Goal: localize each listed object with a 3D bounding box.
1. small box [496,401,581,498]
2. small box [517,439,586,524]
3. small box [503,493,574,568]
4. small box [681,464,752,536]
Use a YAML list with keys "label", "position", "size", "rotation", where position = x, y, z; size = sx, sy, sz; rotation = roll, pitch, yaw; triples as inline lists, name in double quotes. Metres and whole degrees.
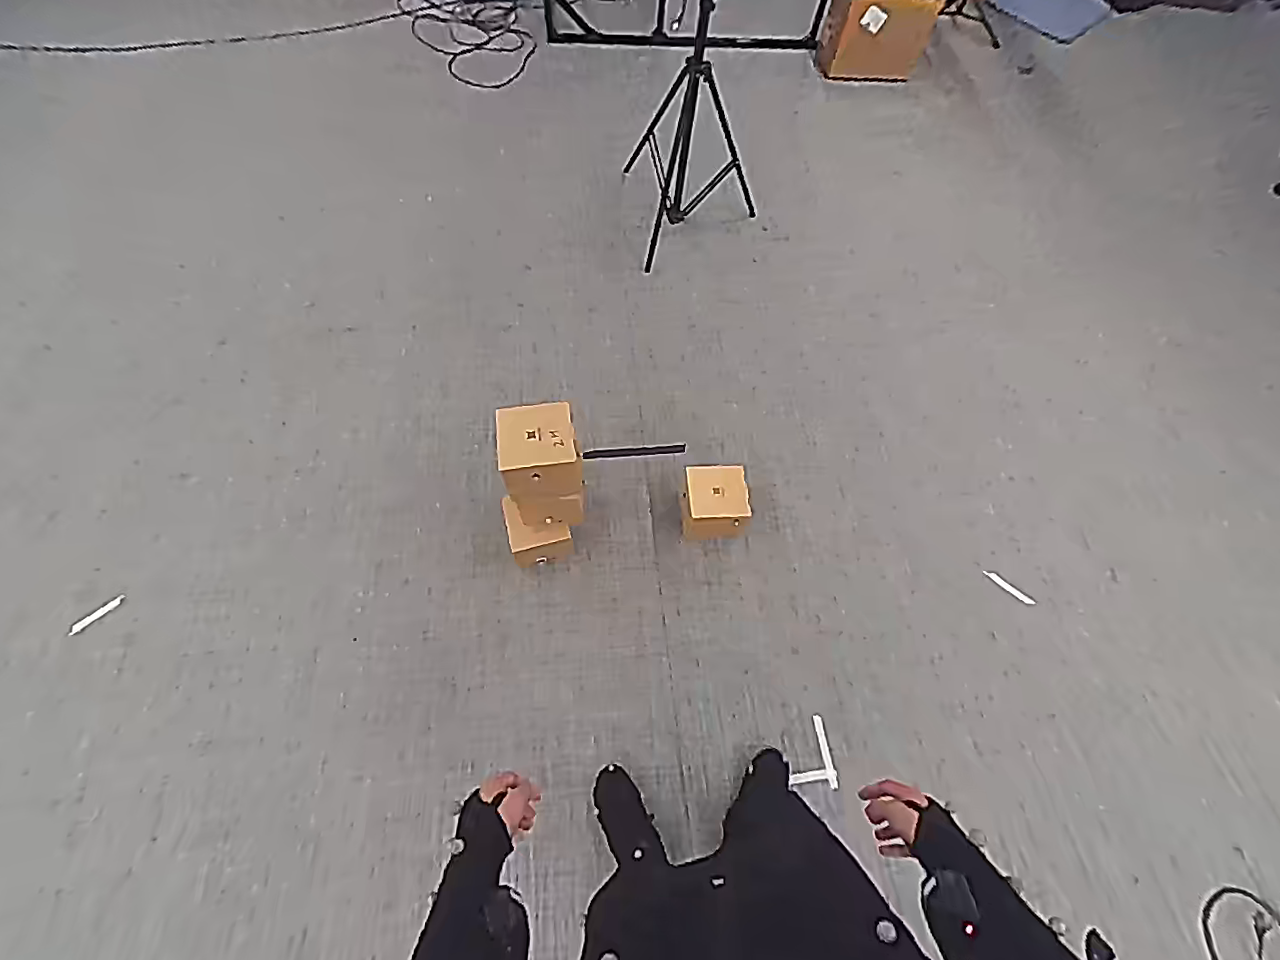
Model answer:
- label: "small box"
  position: [-0.239, -0.067, 1.293]
  size: [0.179, 0.176, 0.168]
  rotation: [-7, 64, -6]
- label: "small box"
  position: [-0.233, 0.005, 1.441]
  size: [0.168, 0.176, 0.179]
  rotation: [0, 64, -3]
- label: "small box"
  position: [-0.289, 0.133, 1.556]
  size: [0.168, 0.176, 0.179]
  rotation: [-14, 66, -10]
- label: "small box"
  position: [0.222, 0.064, 1.627]
  size: [0.179, 0.176, 0.168]
  rotation: [-2, 64, -6]
